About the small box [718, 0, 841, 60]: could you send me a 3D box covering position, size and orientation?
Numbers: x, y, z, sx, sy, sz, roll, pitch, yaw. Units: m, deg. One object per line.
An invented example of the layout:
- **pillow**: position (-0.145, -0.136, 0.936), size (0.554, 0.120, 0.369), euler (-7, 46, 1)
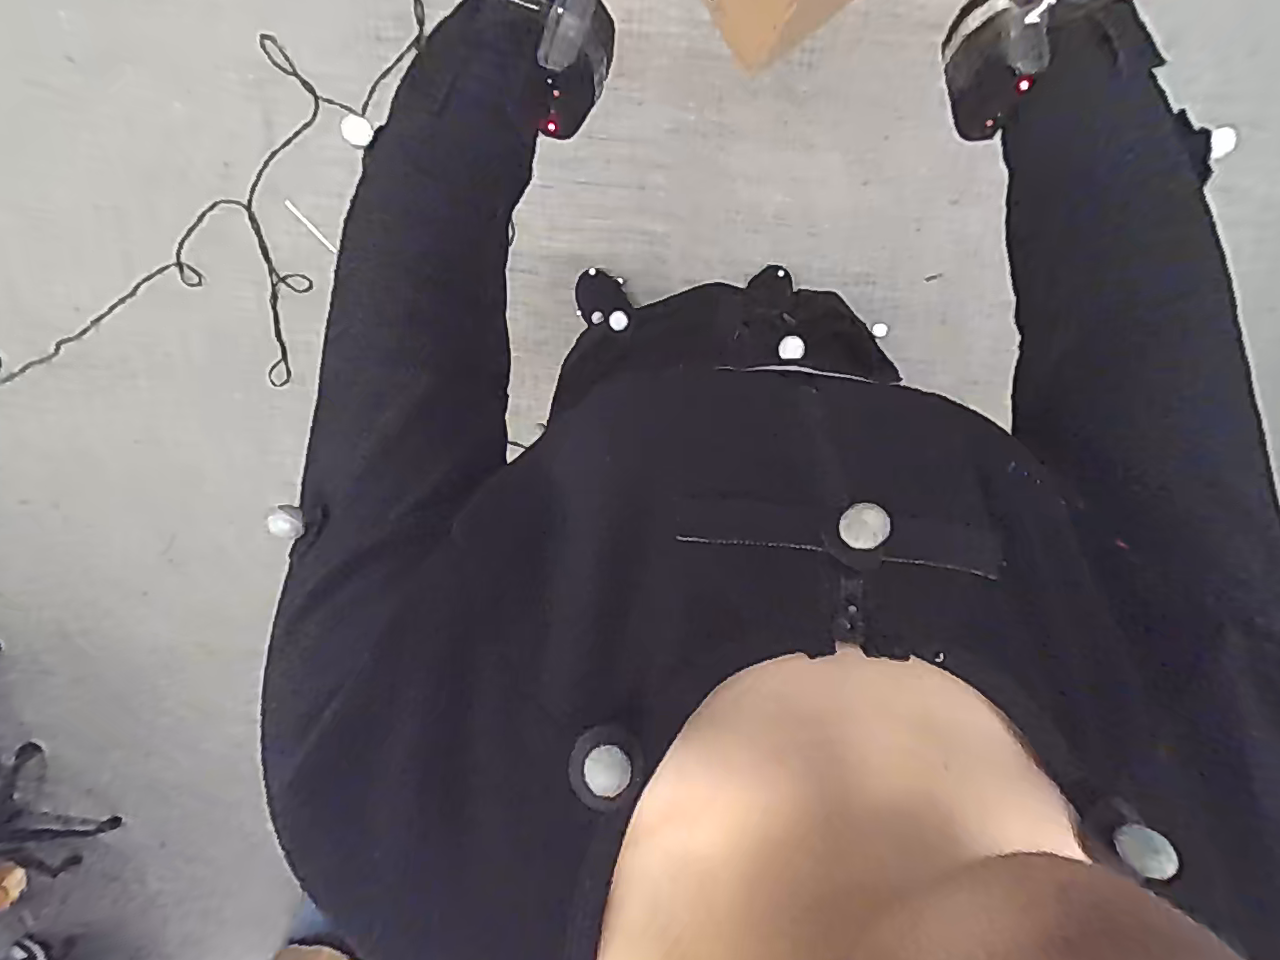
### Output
- **small box**: position (0.104, -0.380, 0.284), size (0.179, 0.176, 0.168), euler (-35, 106, 11)
